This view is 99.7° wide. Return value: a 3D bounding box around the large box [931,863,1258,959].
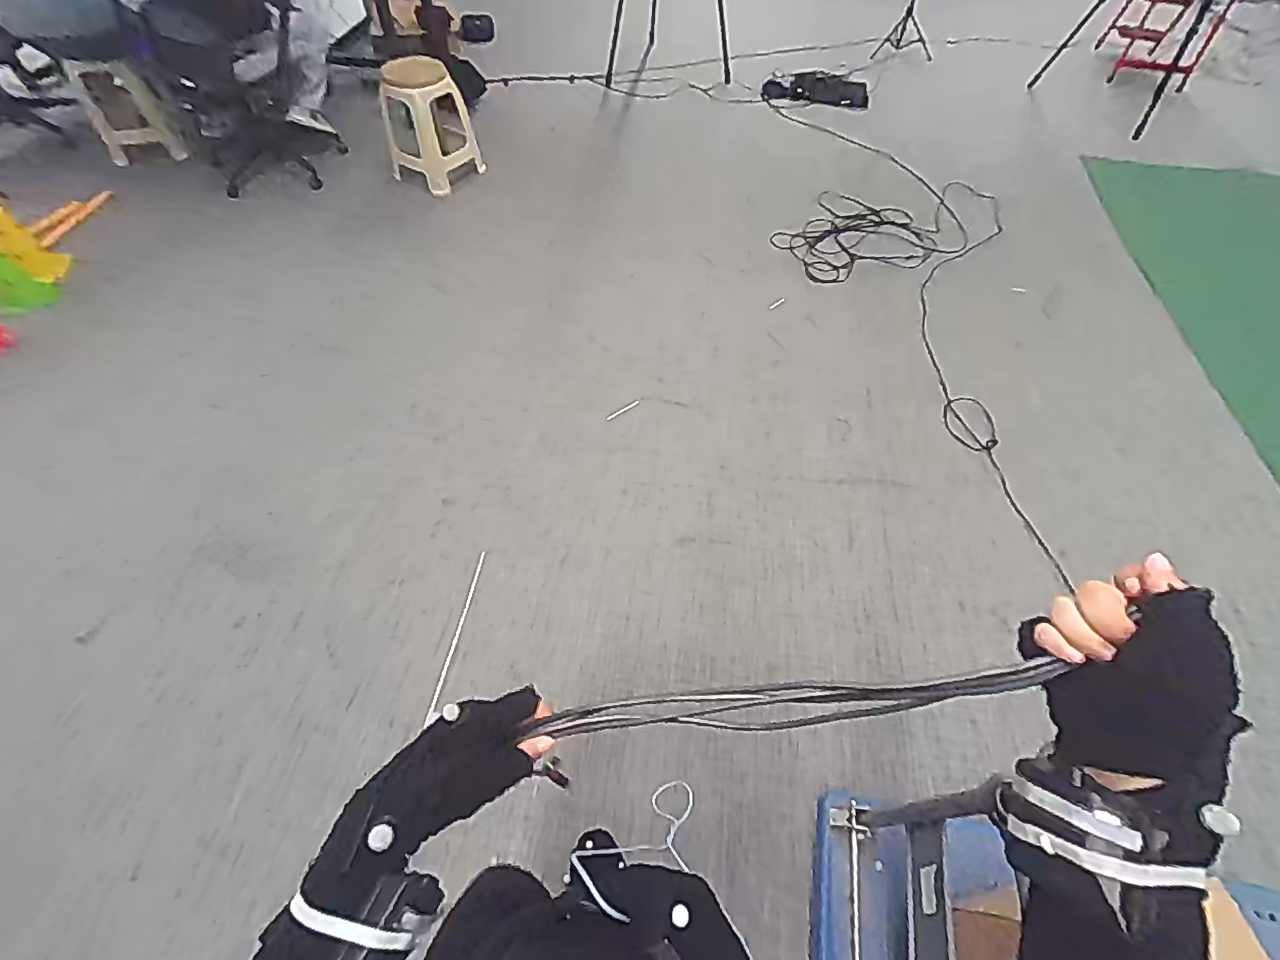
[{"bbox_3d":[0.729,0.848,0.809,0.320,0.320,0.408,-8,55,-6],"label":"large box"}]
